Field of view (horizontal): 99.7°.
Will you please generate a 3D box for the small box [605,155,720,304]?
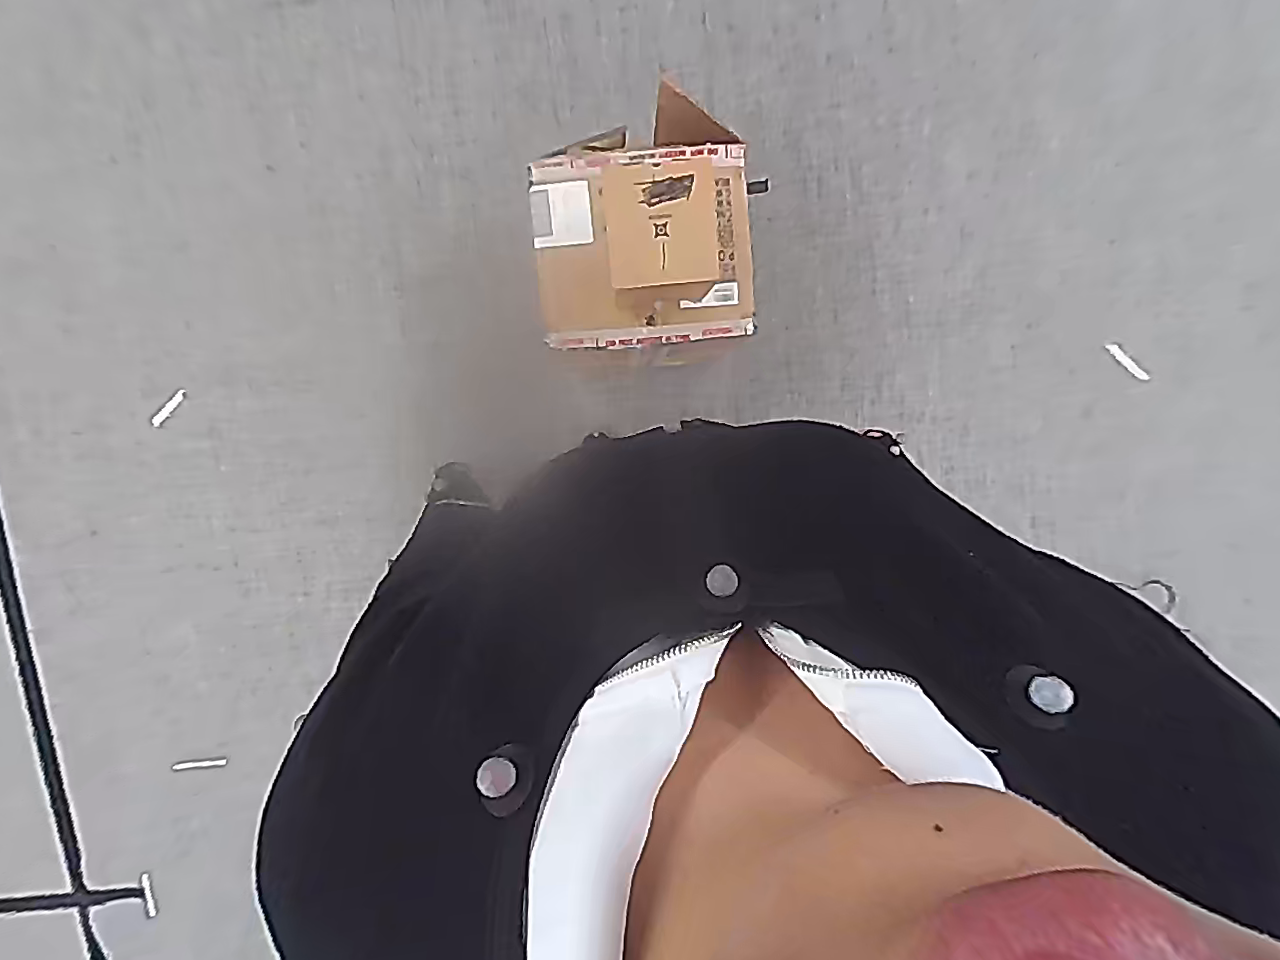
[{"bbox_3d":[0.032,-0.397,0.883,0.168,0.176,0.179,-5,100,0],"label":"small box"}]
